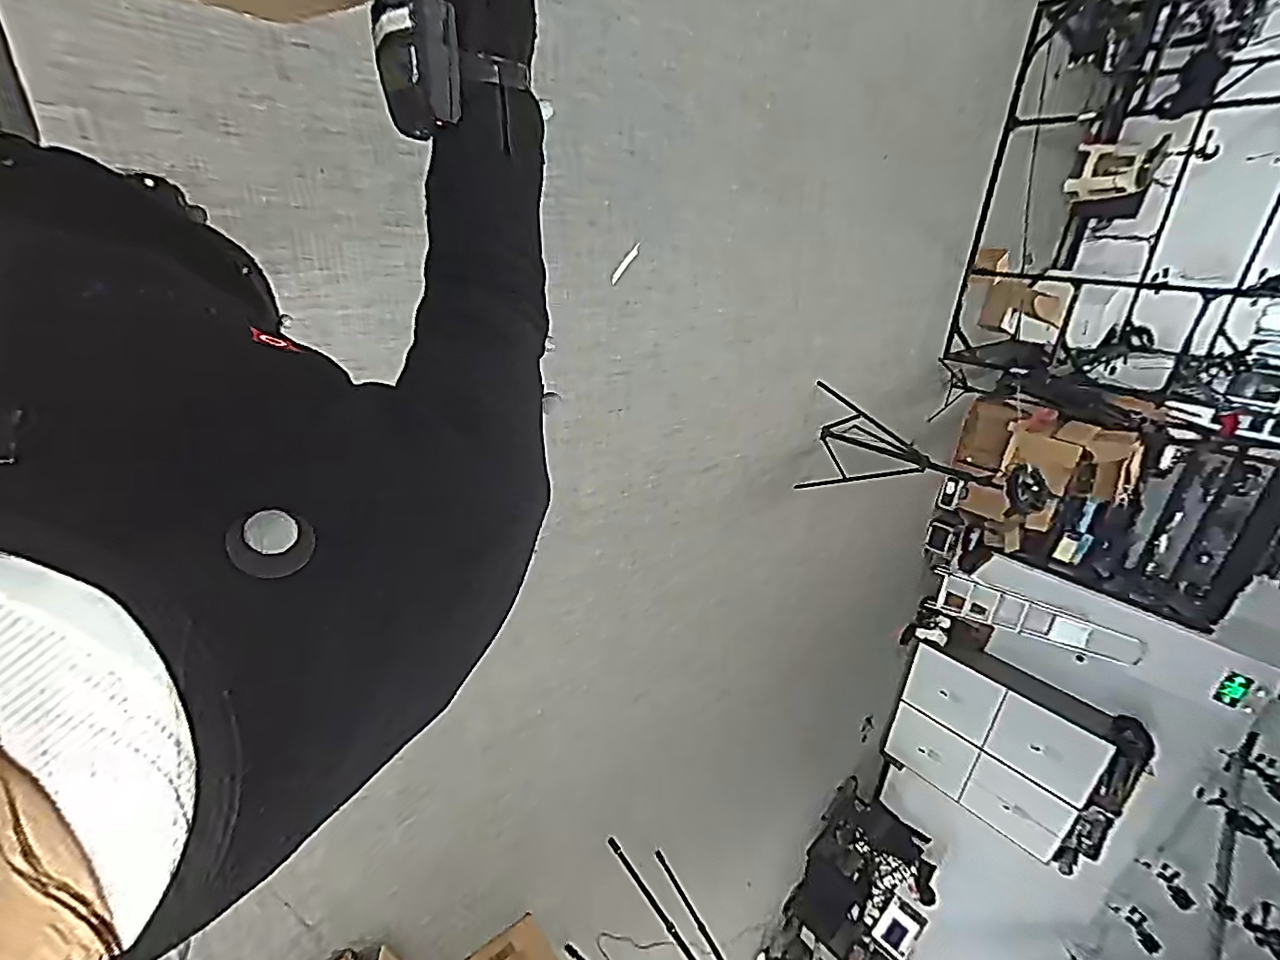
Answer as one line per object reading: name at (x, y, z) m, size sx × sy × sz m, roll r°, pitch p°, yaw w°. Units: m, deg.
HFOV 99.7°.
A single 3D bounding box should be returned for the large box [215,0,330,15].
large box at (-0.352, -0.443, 0.206) m, size 0.408 × 0.320 × 0.320 m, roll -16°, pitch 129°, yaw -40°
